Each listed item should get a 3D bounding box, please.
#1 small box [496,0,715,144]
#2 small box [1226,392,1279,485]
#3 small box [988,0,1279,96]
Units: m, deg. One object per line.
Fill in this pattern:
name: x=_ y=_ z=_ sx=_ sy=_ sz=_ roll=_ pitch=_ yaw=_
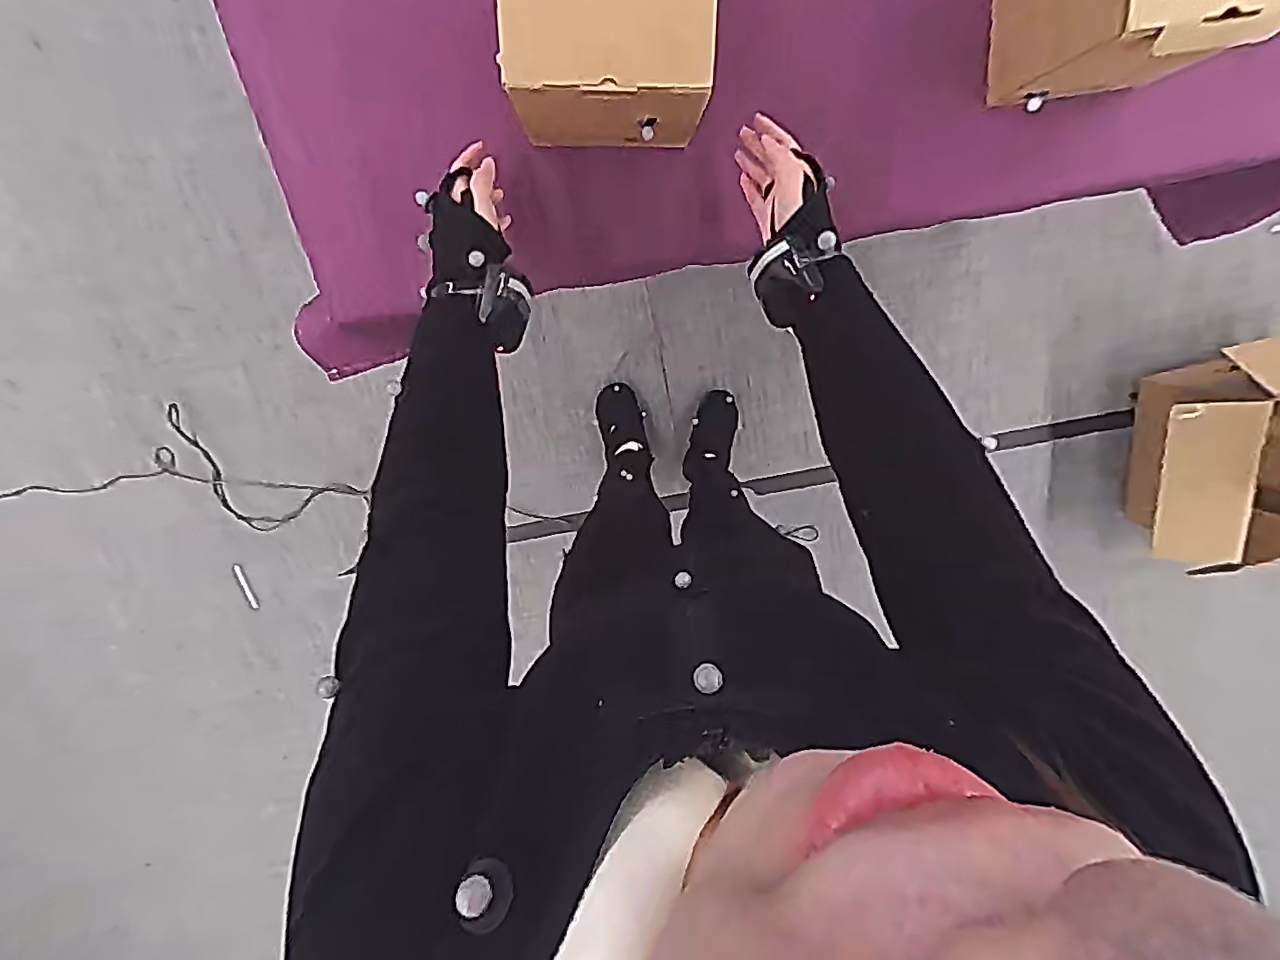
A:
small box: x=-0.027 y=-0.409 z=0.466 sx=0.168 sy=0.176 sz=0.179 roll=0 pitch=108 yaw=-3
small box: x=1.487 y=-0.093 z=1.214 sx=0.168 sy=0.176 sz=0.179 roll=-31 pitch=110 yaw=12
small box: x=0.435 y=-0.461 z=0.467 sx=0.168 sy=0.176 sz=0.179 roll=-8 pitch=108 yaw=0
